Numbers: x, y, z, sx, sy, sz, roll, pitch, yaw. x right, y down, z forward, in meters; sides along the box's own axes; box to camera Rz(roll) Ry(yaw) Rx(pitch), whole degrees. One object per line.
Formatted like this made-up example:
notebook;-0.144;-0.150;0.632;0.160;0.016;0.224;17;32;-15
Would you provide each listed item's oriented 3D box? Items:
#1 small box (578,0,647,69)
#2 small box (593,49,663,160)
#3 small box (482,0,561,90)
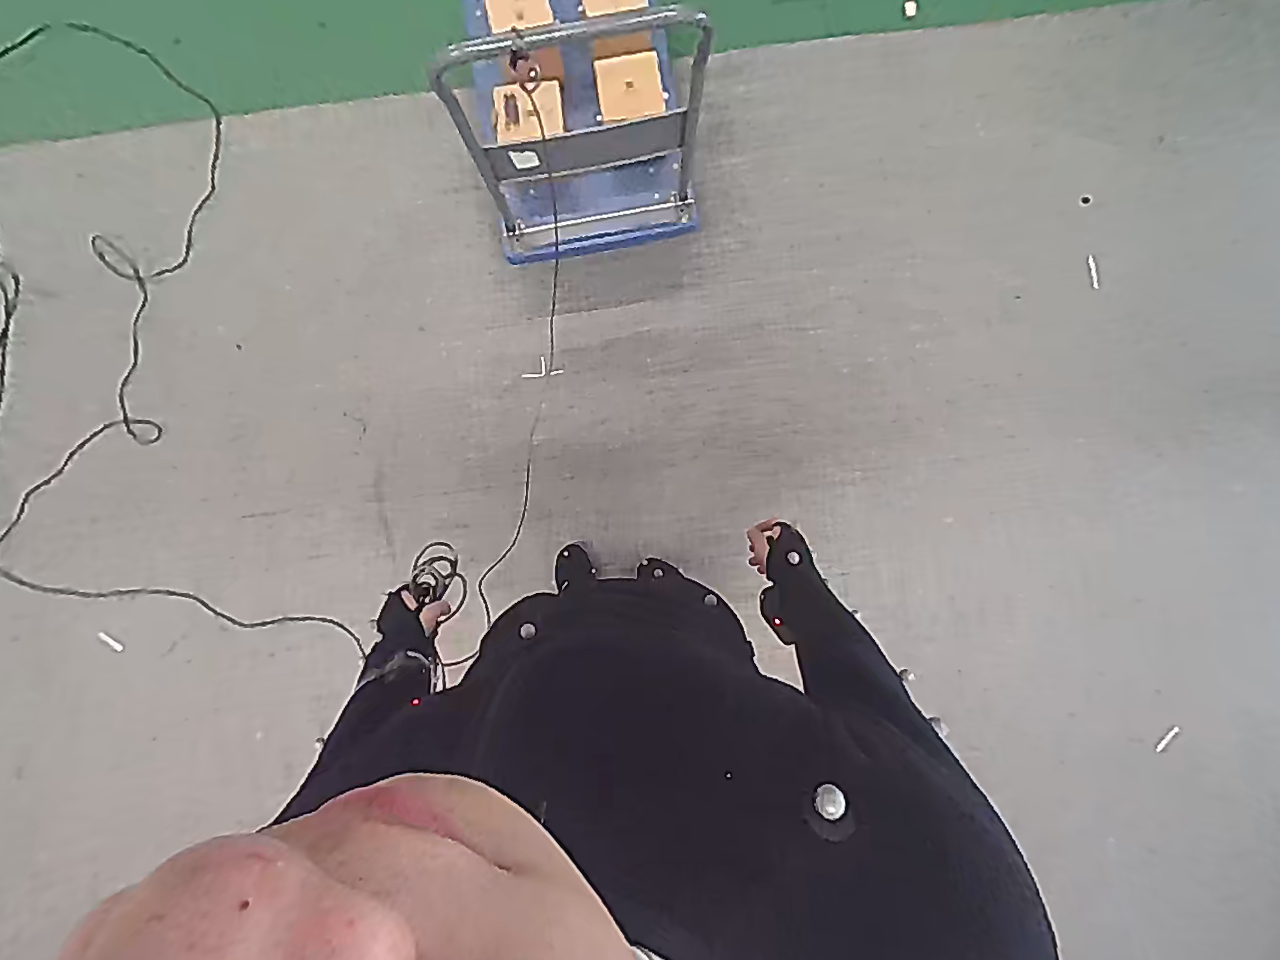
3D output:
small box;-0.078;-1.282;1.492;0.168;0.176;0.179;-14;87;1
small box;-0.033;-1.016;1.474;0.168;0.176;0.179;-9;87;0
small box;-0.323;-1.221;1.493;0.168;0.176;0.179;-13;86;-1
